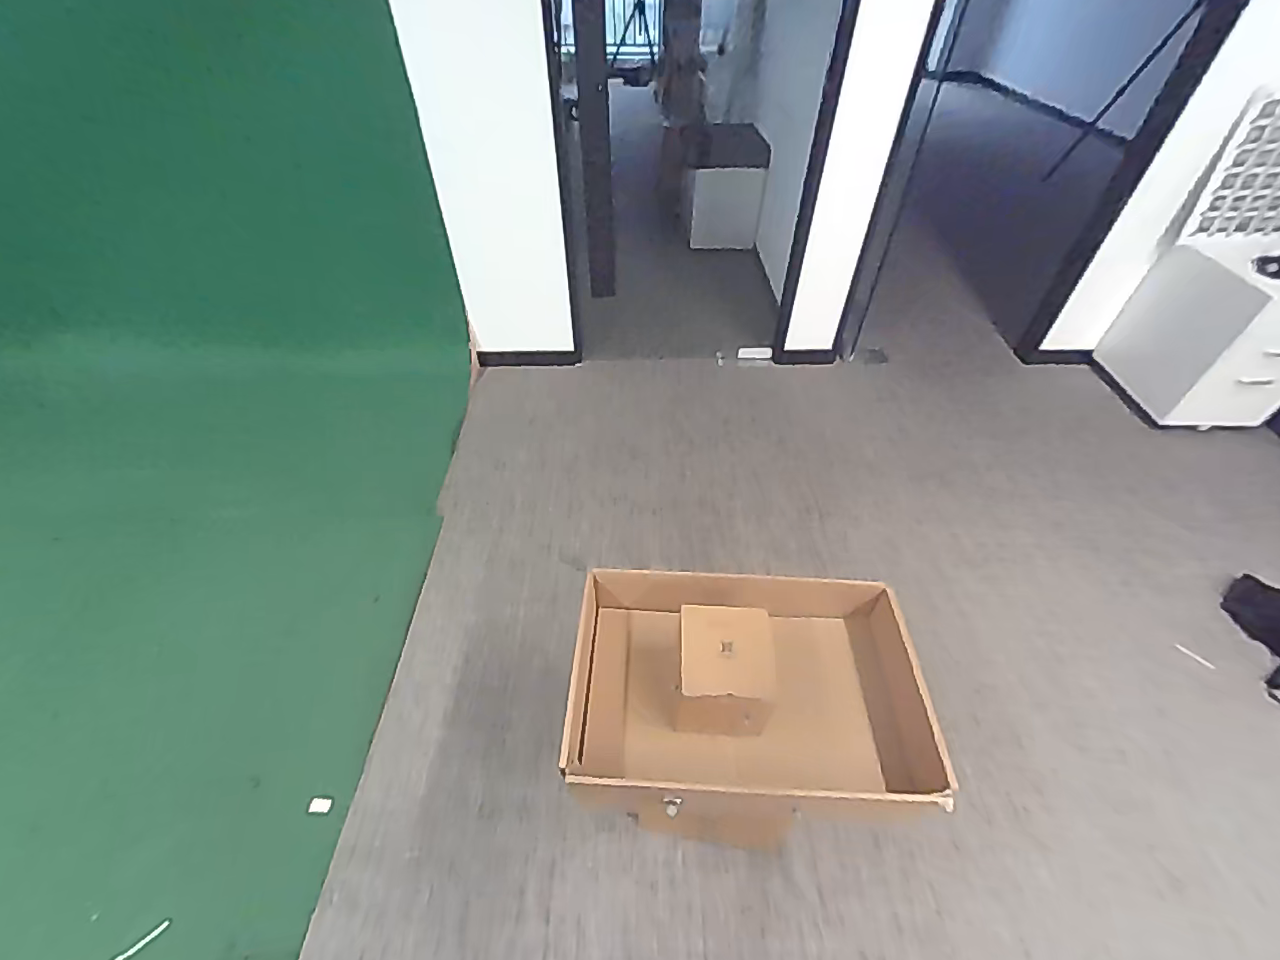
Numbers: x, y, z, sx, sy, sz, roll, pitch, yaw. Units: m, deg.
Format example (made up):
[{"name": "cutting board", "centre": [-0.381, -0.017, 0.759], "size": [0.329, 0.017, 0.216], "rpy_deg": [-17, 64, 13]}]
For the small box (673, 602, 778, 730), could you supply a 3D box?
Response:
[{"name": "small box", "centre": [0.153, 0.353, 1.020], "size": [0.168, 0.176, 0.179], "rpy_deg": [4, 44, 0]}]
